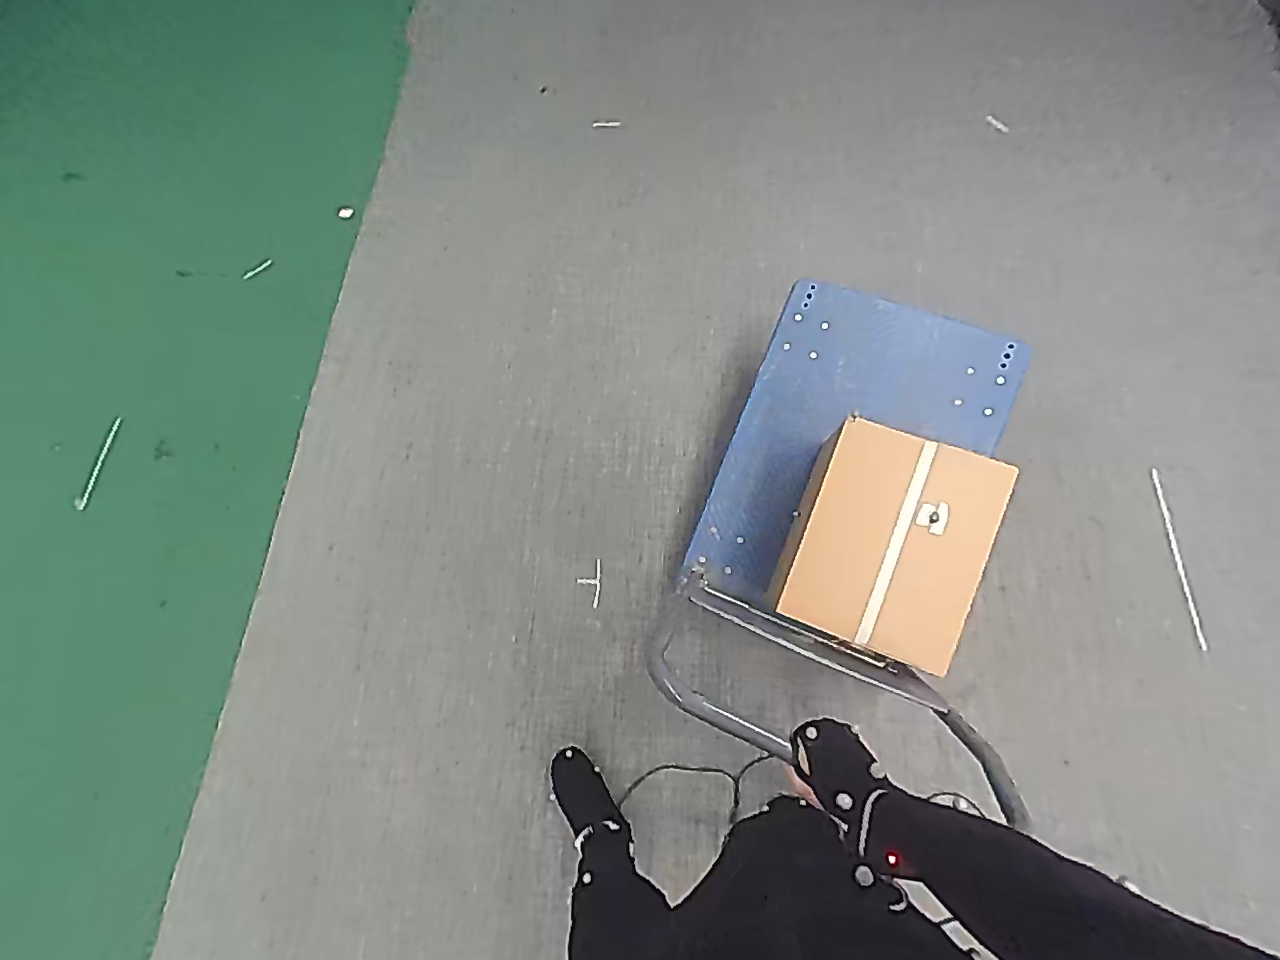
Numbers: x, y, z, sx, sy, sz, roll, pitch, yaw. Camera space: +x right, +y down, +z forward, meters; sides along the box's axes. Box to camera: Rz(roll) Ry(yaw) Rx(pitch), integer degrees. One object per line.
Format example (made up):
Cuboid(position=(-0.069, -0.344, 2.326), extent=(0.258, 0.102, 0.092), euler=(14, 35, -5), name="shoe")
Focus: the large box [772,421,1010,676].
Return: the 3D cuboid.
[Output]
Cuboid(position=(0.498, 0.139, 1.155), extent=(0.320, 0.320, 0.408), euler=(21, 87, 11), name="large box")
